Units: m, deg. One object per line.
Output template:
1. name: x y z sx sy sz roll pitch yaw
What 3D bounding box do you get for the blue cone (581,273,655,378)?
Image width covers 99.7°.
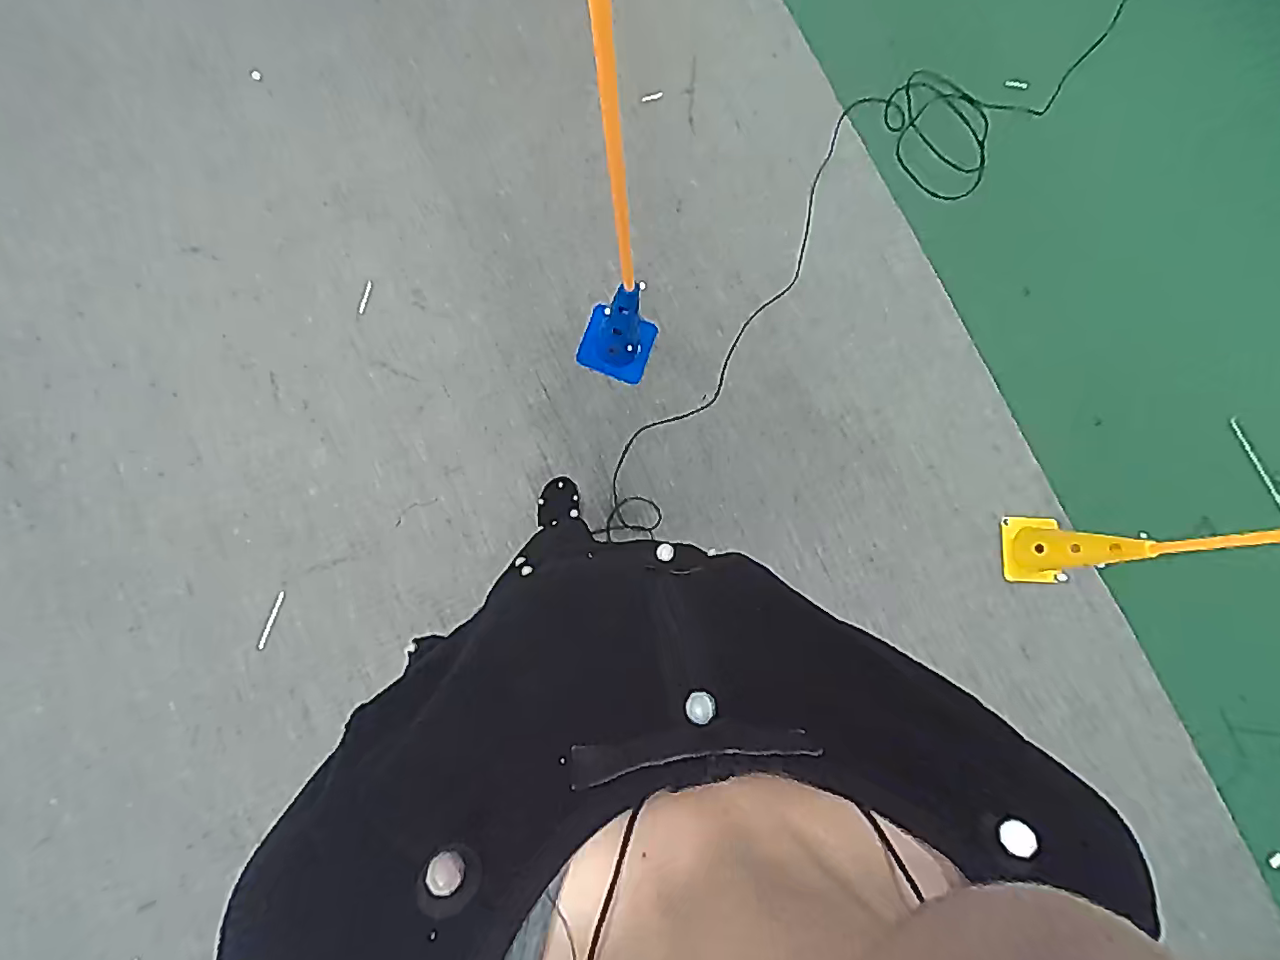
1. blue cone: -0.045 -0.417 1.398 0.193 0.380 0.192 18 81 -4
